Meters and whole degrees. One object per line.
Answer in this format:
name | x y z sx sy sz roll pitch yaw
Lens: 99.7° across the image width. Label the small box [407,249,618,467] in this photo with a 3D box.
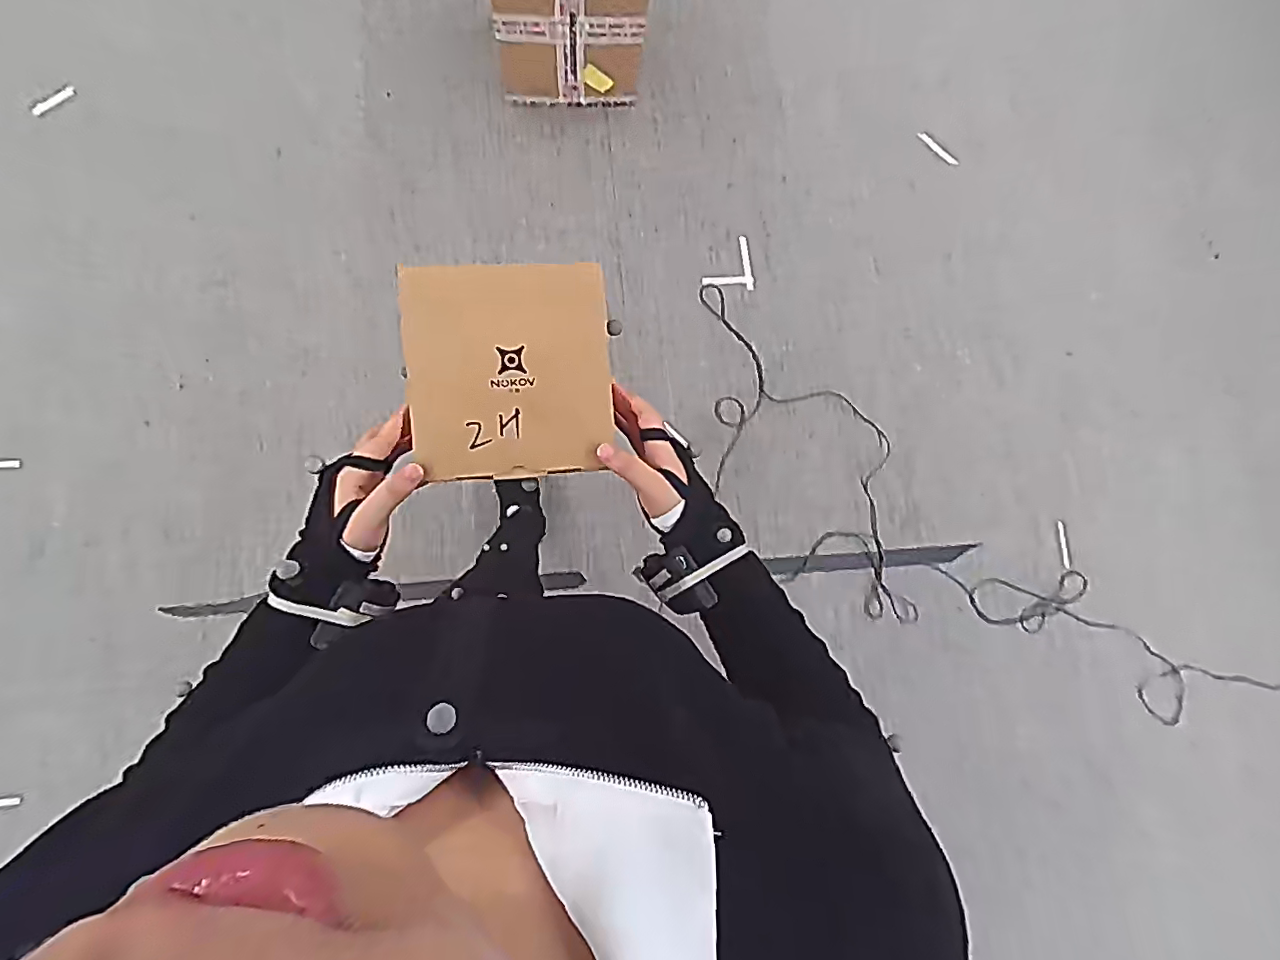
small box | -0.115 -0.105 0.528 0.168 0.176 0.179 -4 92 -7
